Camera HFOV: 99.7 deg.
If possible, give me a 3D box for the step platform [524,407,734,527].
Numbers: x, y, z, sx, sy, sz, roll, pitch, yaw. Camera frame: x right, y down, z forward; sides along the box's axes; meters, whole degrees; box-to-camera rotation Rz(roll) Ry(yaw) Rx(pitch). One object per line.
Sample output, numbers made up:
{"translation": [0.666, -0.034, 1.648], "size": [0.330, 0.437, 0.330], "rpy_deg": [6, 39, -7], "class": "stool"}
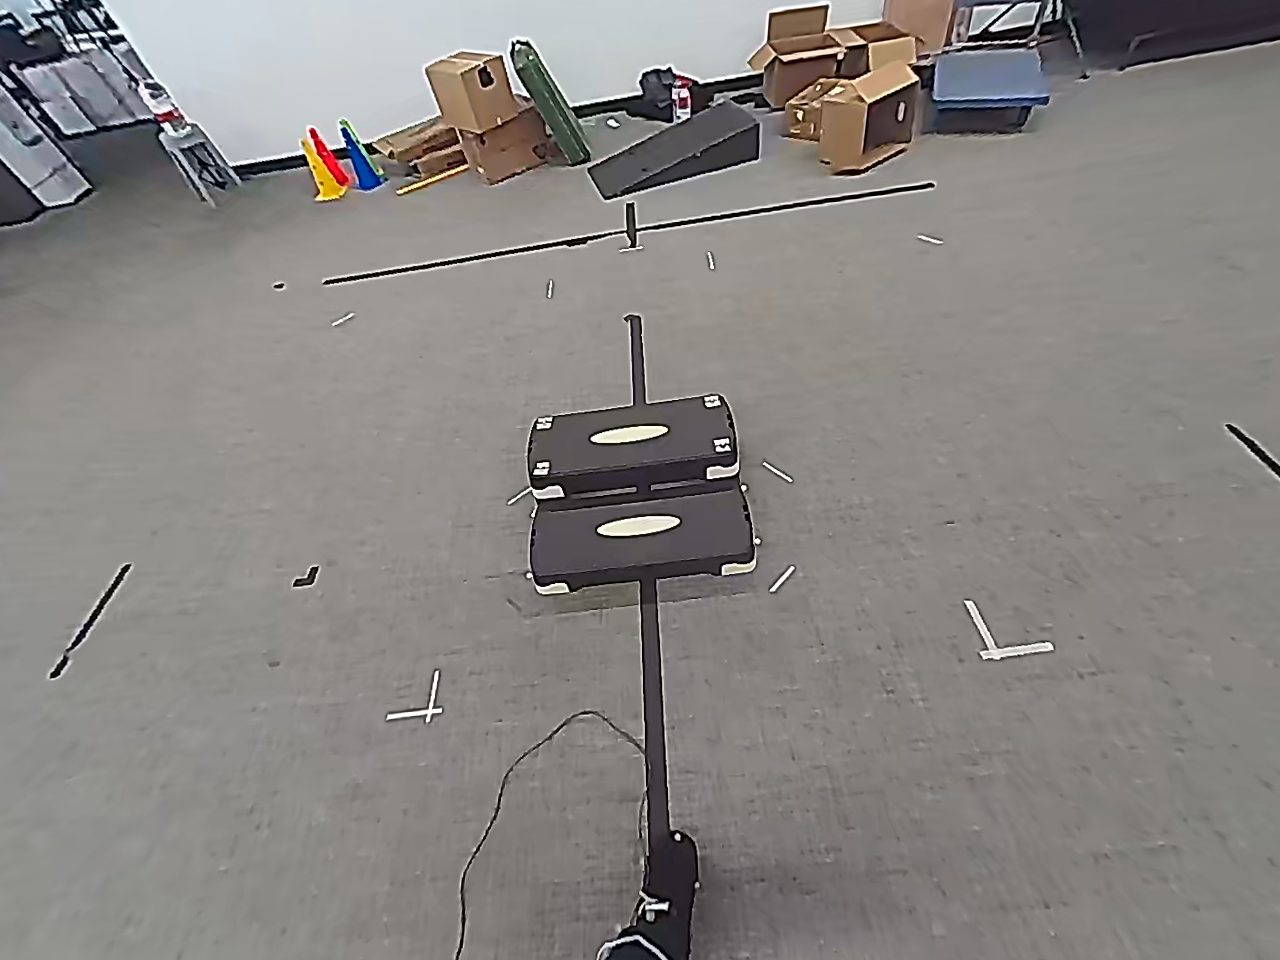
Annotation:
{"translation": [-0.037, -0.046, 1.785], "size": [0.684, 0.204, 0.286], "rpy_deg": [-7, 51, 3], "class": "step platform"}
